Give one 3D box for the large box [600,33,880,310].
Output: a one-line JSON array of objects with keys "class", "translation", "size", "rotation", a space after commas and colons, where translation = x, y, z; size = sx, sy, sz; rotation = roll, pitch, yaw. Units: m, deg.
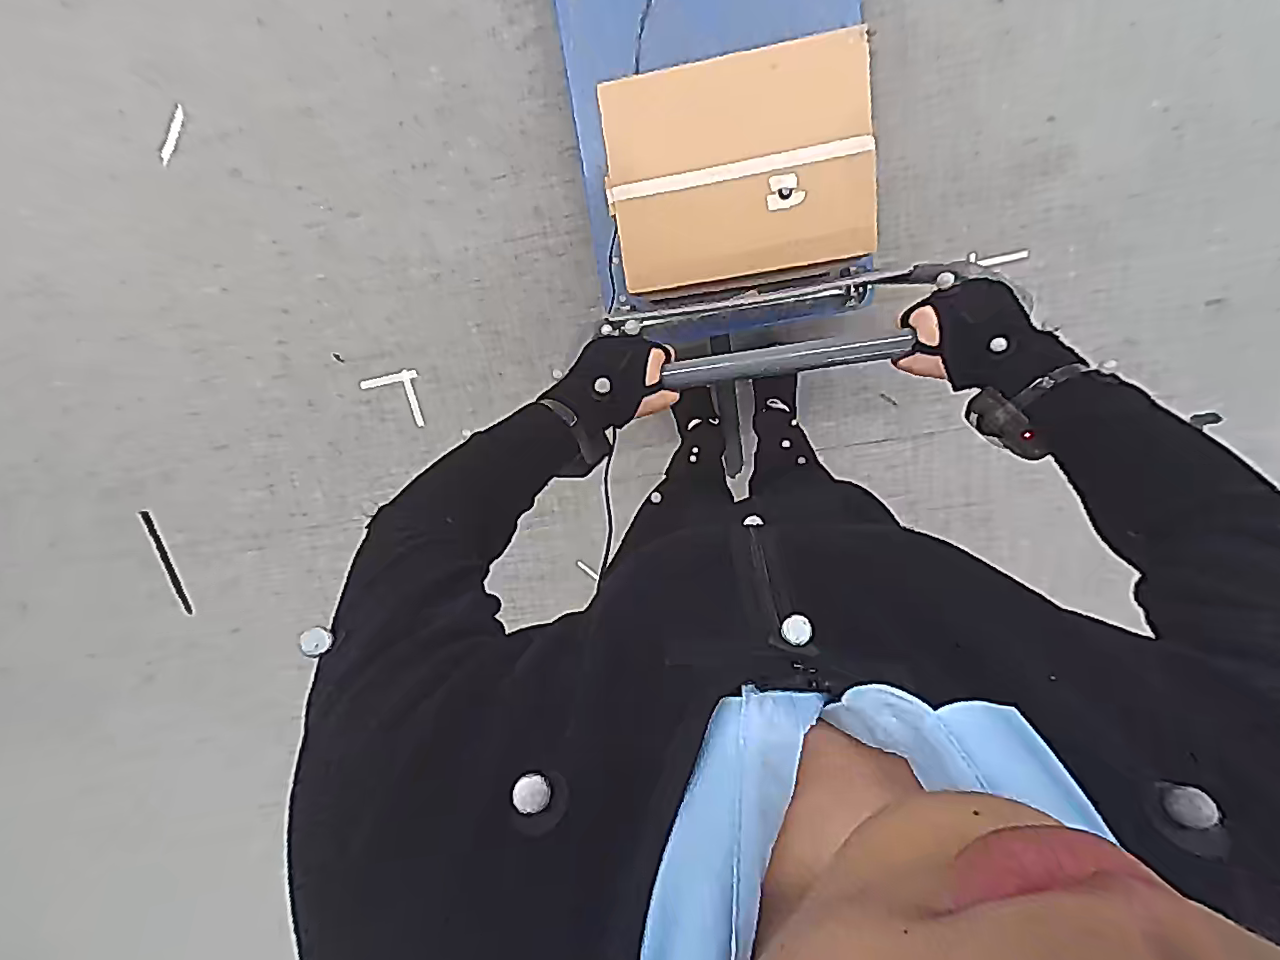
[{"class": "large box", "translation": [0.168, -0.504, 0.975], "size": [0.408, 0.320, 0.320], "rotation": [-7, 105, 7]}]
